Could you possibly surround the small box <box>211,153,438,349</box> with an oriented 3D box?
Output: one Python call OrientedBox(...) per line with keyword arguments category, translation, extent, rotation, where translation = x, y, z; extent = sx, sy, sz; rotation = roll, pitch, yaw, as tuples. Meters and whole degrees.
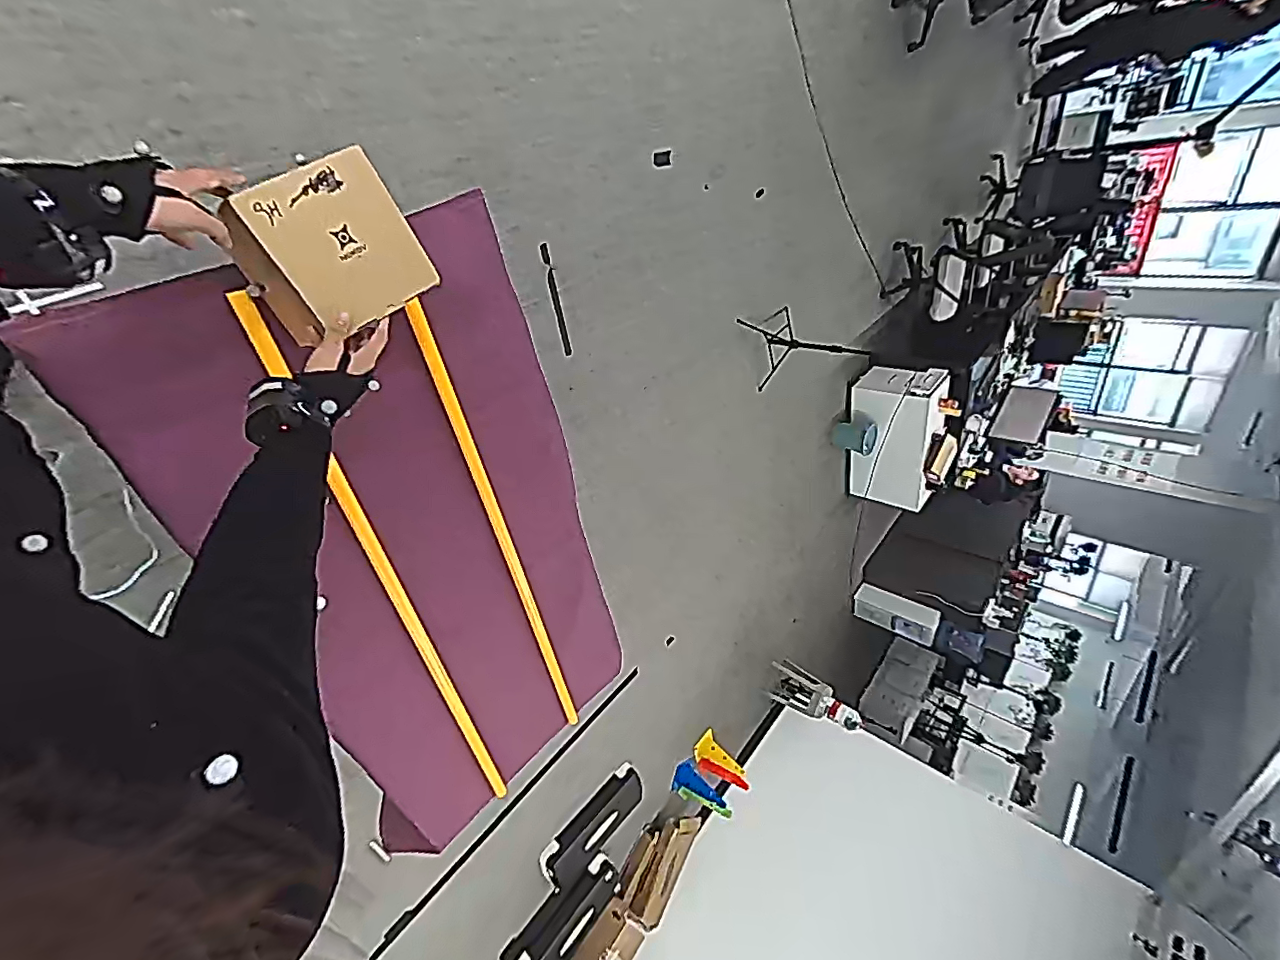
OrientedBox(category="small box", translation=(-0.409, -0.290, 0.707), extent=(0.168, 0.176, 0.179), rotation=(-46, 129, -28))
